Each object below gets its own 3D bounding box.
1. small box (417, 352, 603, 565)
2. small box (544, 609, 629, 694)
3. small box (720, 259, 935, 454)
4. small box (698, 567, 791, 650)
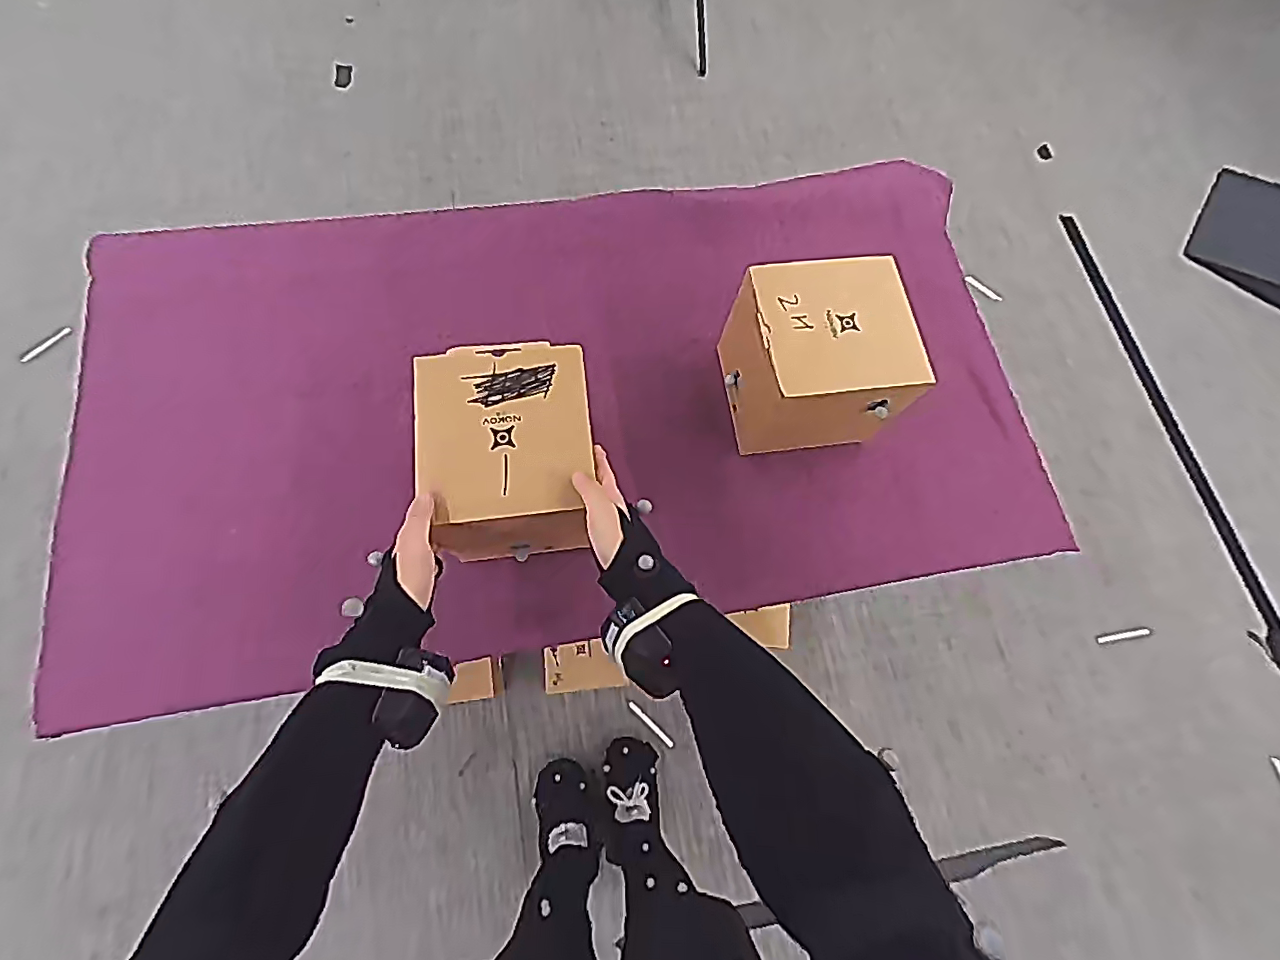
[{"bbox_3d":[-0.131,-0.016,0.586,0.168,0.176,0.179,-6,72,-5],"label":"small box"},{"bbox_3d":[-0.123,0.387,1.233,0.179,0.176,0.168,-4,73,-6],"label":"small box"},{"bbox_3d":[0.211,-0.141,0.659,0.179,0.176,0.168,-7,72,-6],"label":"small box"},{"bbox_3d":[0.244,0.308,1.288,0.179,0.176,0.168,8,73,-1],"label":"small box"}]
